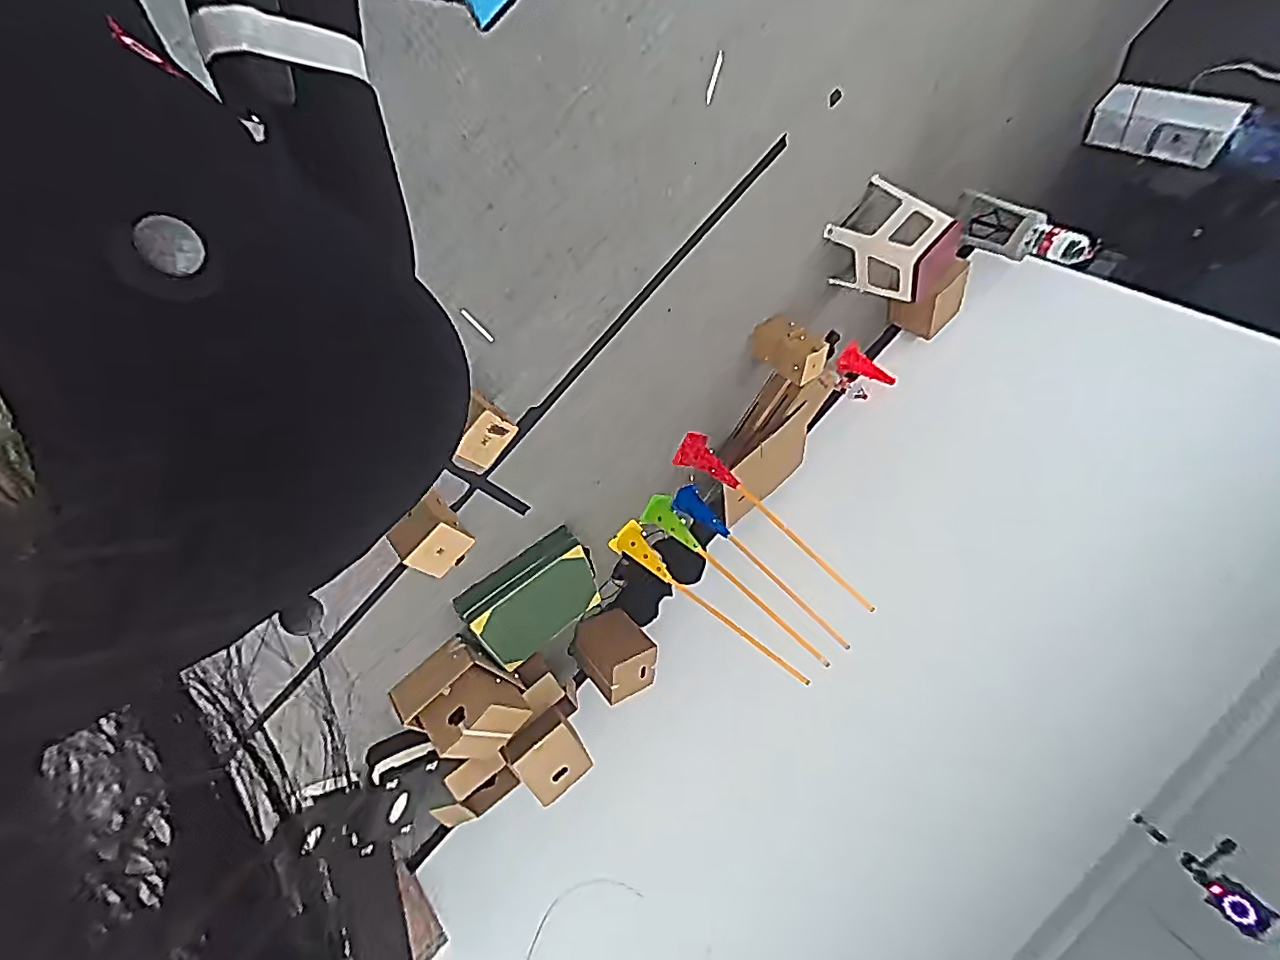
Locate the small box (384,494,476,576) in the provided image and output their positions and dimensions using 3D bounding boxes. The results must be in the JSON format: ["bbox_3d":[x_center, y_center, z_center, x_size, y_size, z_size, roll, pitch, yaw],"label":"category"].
[{"bbox_3d":[-0.663,0.172,1.708,0.168,0.176,0.179,-47,147,-5],"label":"small box"}]

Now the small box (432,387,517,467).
[{"bbox_3d":[-0.550,-0.177,1.782,0.179,0.176,0.168,-50,148,3],"label":"small box"}]

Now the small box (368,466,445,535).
[{"bbox_3d":[-0.772,0.089,1.797,0.179,0.176,0.168,-45,149,-4],"label":"small box"}]
